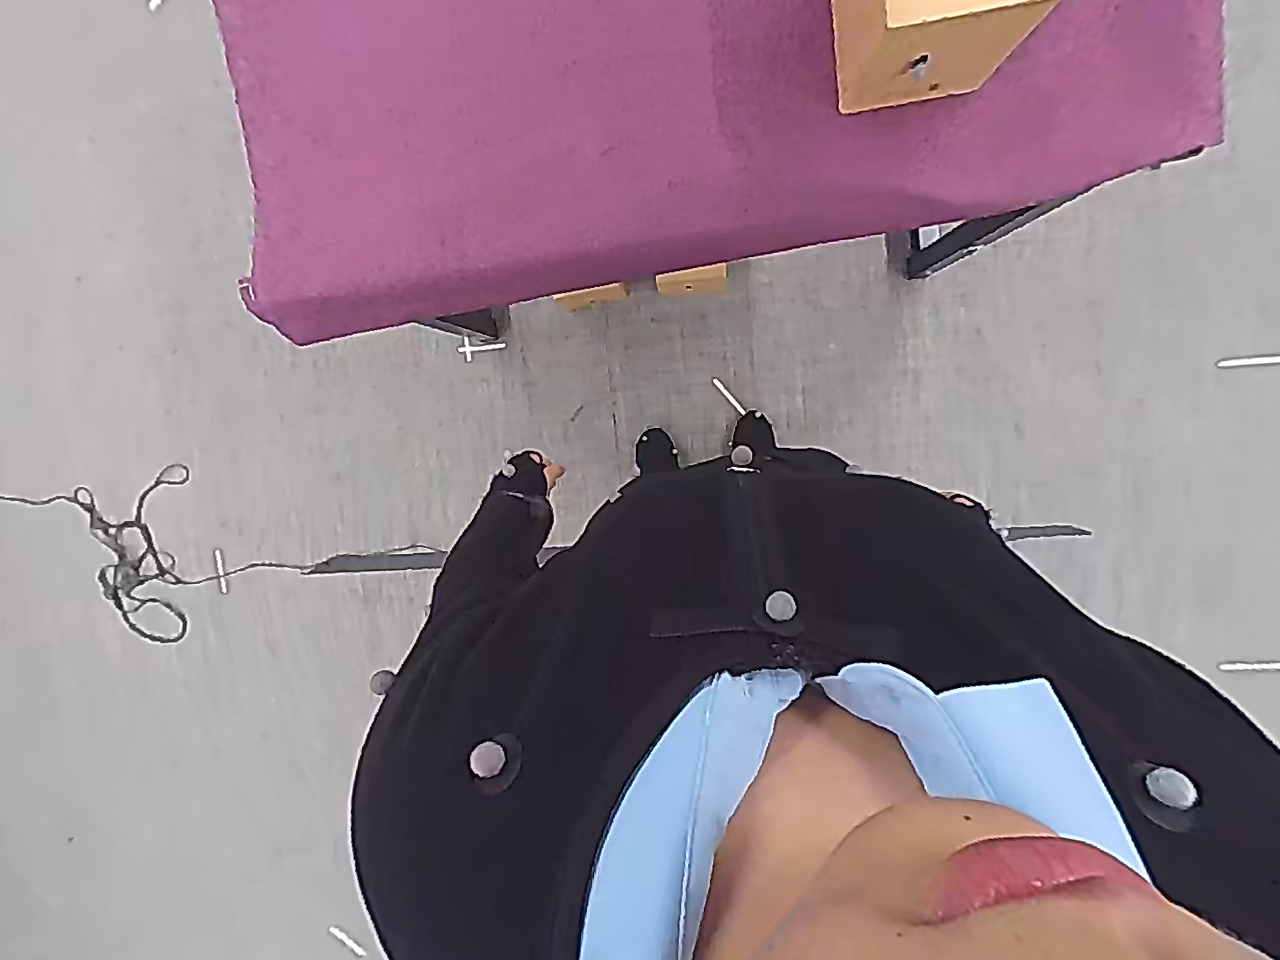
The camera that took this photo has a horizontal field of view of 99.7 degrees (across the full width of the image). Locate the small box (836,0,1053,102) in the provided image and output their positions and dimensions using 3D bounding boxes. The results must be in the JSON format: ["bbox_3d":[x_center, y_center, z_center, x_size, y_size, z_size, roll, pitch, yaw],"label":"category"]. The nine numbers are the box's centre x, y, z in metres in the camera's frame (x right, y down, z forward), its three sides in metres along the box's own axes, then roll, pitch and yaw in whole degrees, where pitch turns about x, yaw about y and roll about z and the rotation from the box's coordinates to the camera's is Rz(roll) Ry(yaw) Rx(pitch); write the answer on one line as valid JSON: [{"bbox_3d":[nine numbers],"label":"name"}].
[{"bbox_3d":[0.317,-0.544,0.583,0.168,0.176,0.179,-6,97,6],"label":"small box"}]

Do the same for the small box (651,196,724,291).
[{"bbox_3d":[0.120,-0.573,1.335,0.168,0.176,0.179,-4,97,5],"label":"small box"}]
